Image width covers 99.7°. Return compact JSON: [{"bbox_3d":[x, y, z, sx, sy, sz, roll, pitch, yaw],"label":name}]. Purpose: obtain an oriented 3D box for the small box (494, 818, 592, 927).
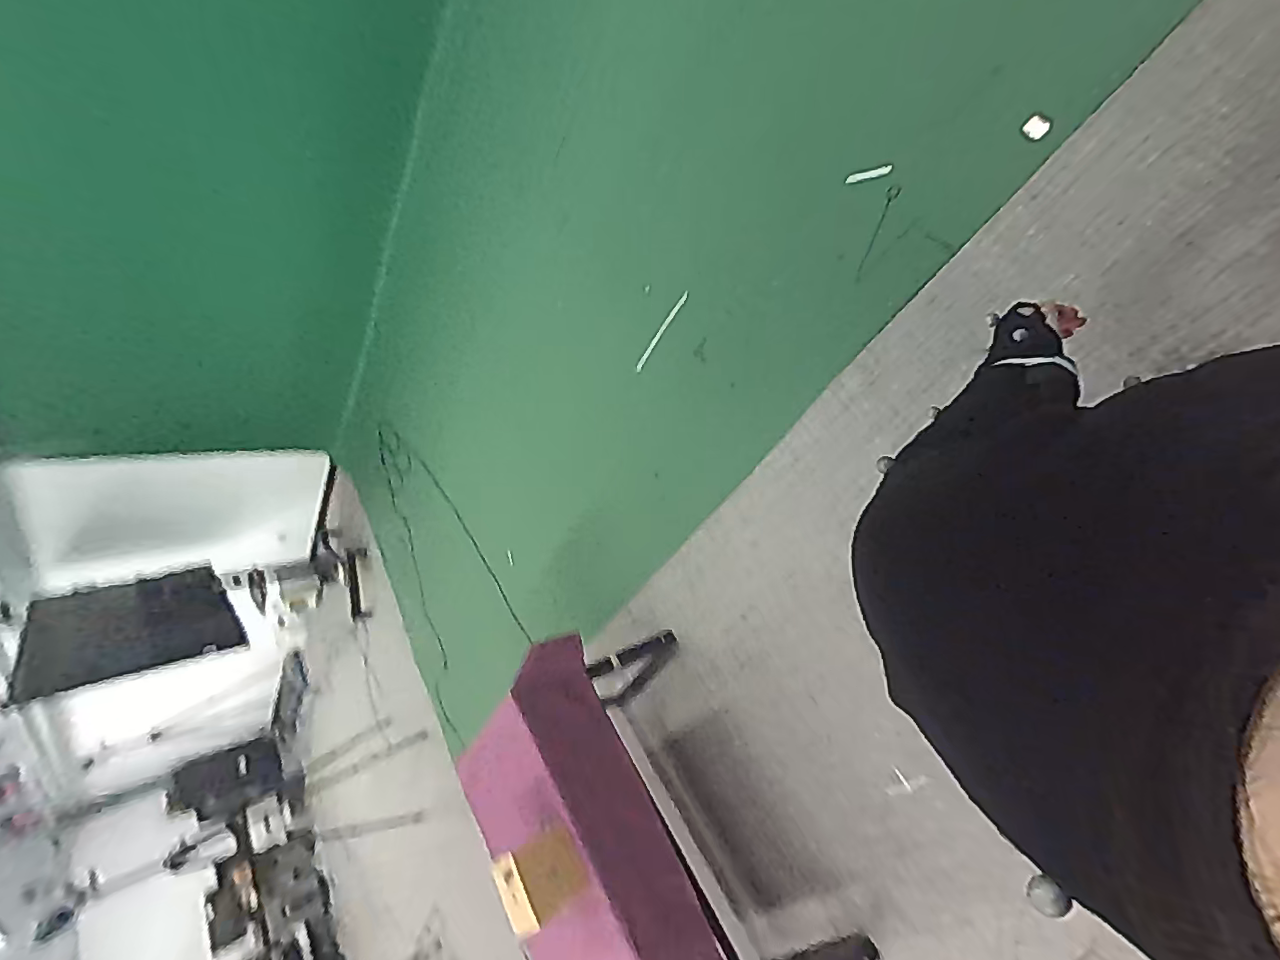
[{"bbox_3d":[-0.261,1.049,1.461,0.179,0.176,0.168,56,131,24],"label":"small box"}]
